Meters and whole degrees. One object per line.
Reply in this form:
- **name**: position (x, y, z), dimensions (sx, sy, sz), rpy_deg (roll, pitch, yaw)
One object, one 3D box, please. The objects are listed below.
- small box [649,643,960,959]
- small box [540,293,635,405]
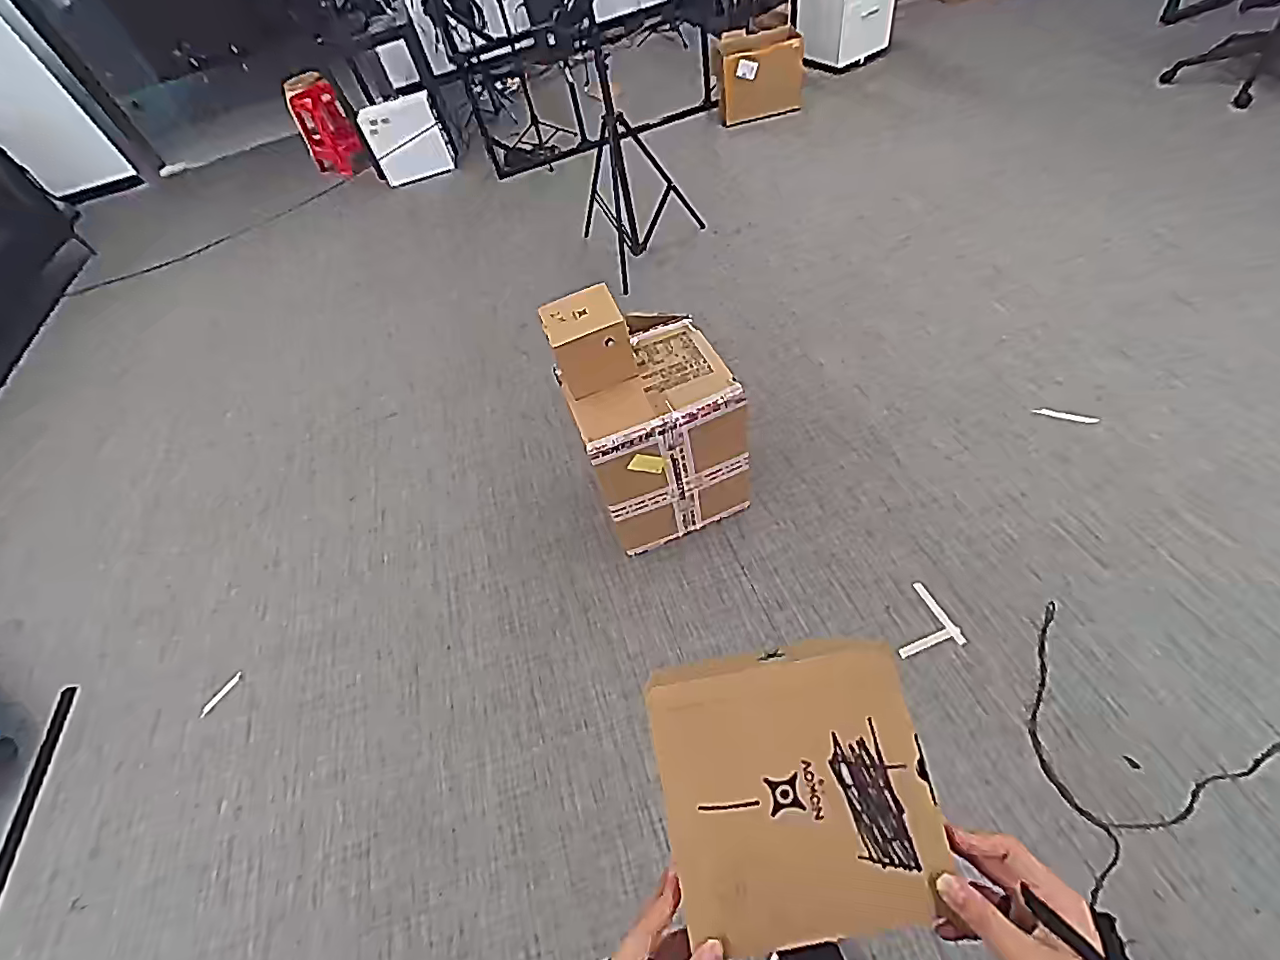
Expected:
- **small box**: position (0.108, 0.231, 0.437), dimensions (0.179, 0.176, 0.168), rpy_deg (-12, 73, 1)
- **small box**: position (-0.121, -0.315, 1.312), dimensions (0.179, 0.176, 0.168), rpy_deg (-22, 52, -1)
